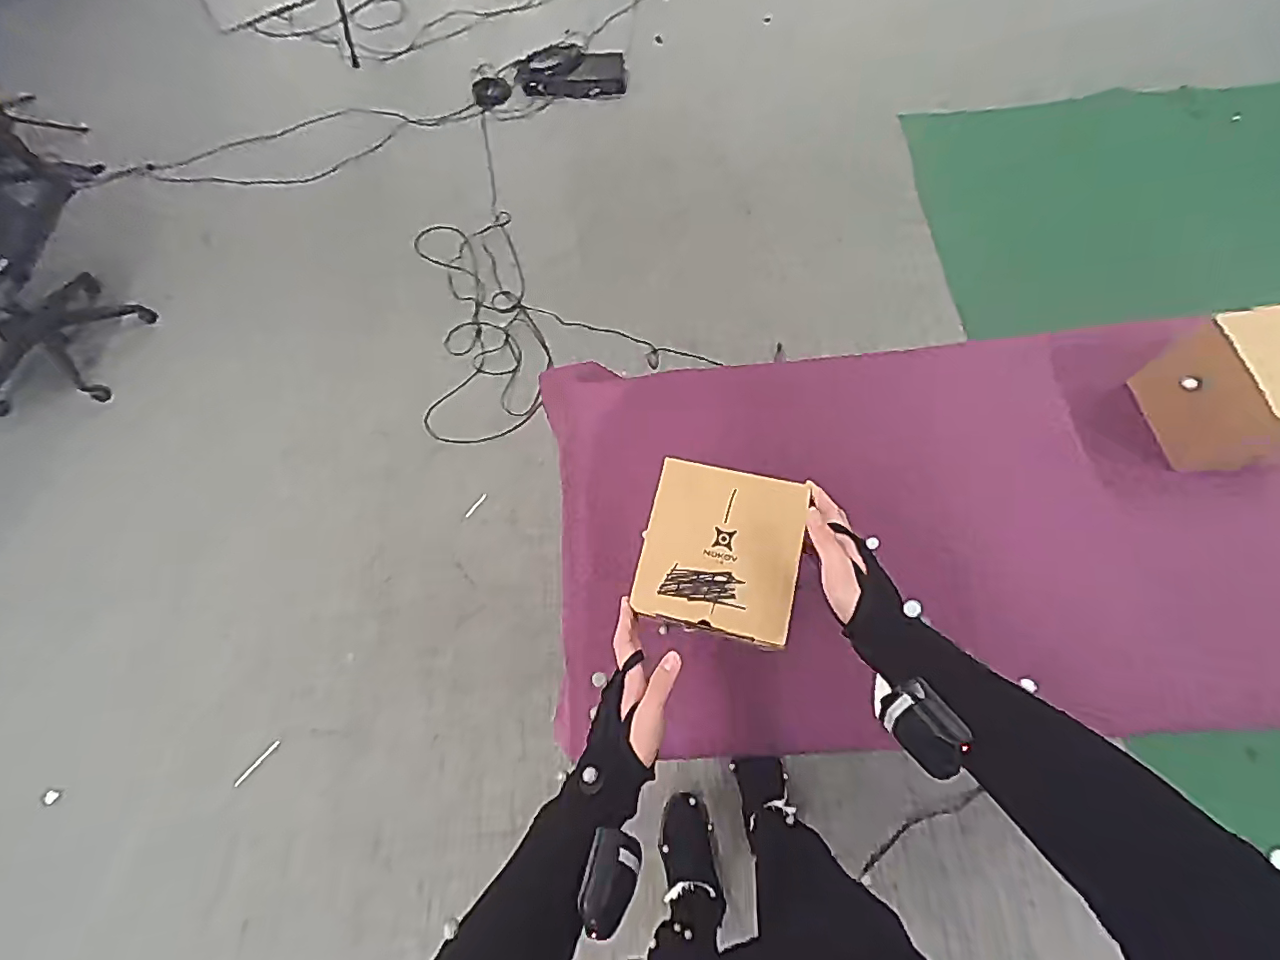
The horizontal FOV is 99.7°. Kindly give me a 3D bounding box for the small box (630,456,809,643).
[{"bbox_3d":[0.096,0.093,0.655,0.168,0.176,0.179,11,73,10],"label":"small box"}]

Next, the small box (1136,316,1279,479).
[{"bbox_3d":[0.902,-0.119,0.797,0.168,0.176,0.179,-6,65,4],"label":"small box"}]
